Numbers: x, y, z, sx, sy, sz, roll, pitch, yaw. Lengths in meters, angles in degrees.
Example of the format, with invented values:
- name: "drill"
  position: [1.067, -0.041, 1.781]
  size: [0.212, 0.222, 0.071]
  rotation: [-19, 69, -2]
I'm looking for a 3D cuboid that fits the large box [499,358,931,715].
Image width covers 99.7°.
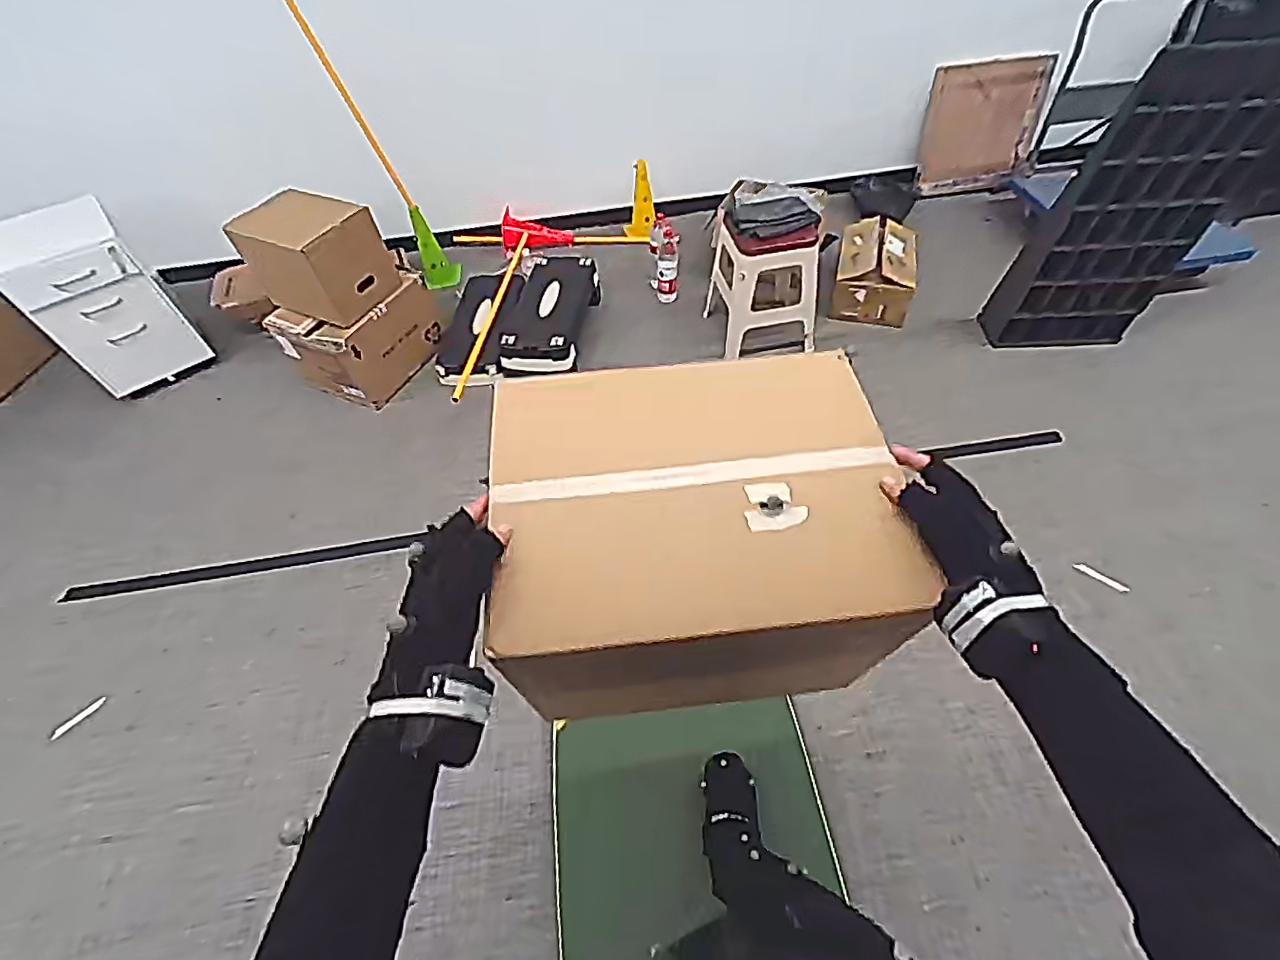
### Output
- name: "large box"
  position: [0.052, 0.082, 0.684]
  size: [0.408, 0.320, 0.320]
  rotation: [-6, 57, -4]
